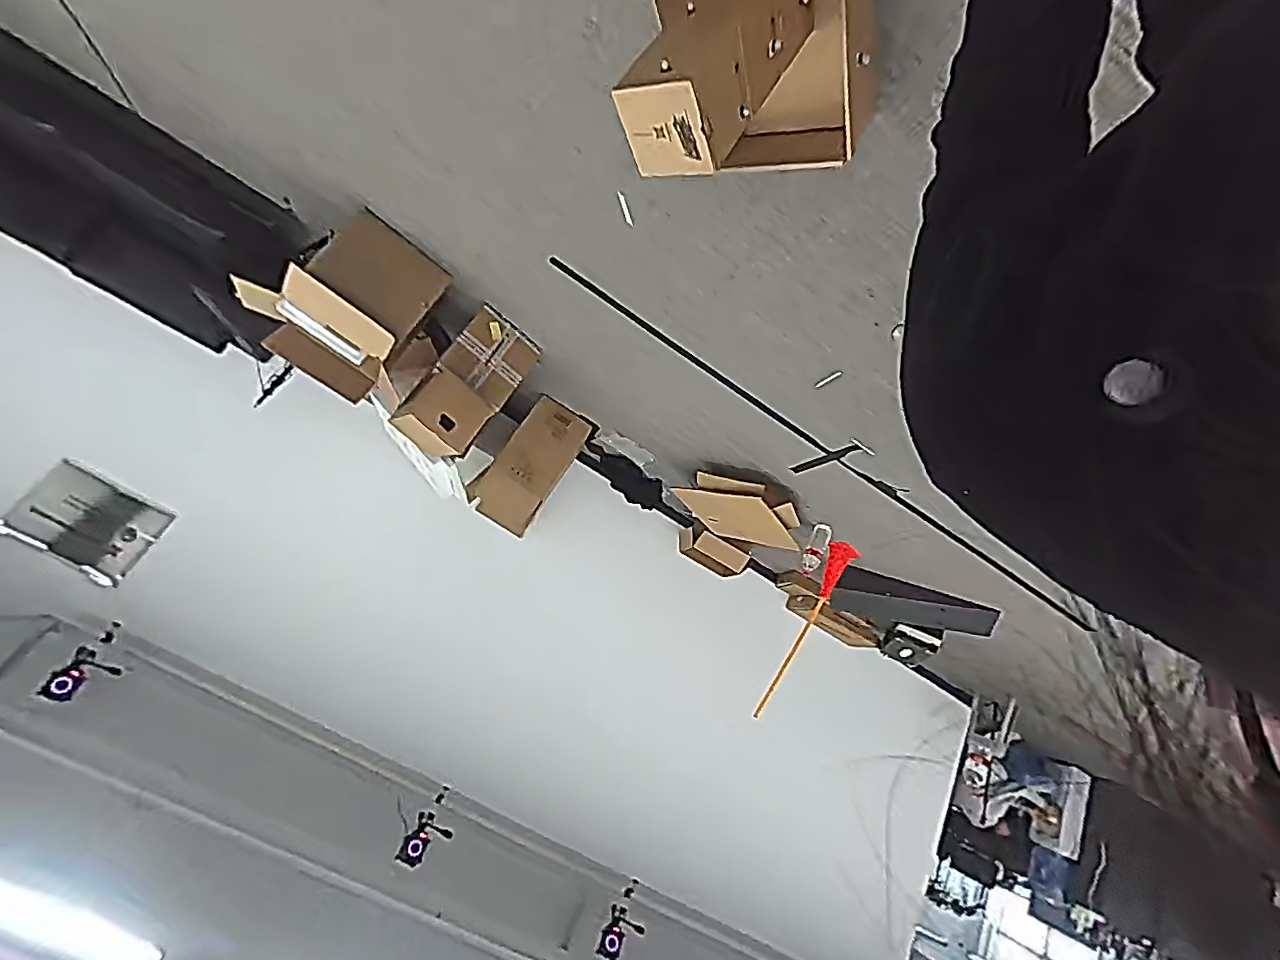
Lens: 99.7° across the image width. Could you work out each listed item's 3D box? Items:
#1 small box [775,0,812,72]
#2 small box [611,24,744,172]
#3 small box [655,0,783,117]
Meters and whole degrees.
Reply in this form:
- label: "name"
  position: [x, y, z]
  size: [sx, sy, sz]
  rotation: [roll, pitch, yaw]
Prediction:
- label: "small box"
  position: [0.237, -0.975, 1.115]
  size: [0.179, 0.176, 0.168]
  rotation: [18, 158, 29]
- label: "small box"
  position: [0.081, -0.708, 1.011]
  size: [0.179, 0.176, 0.168]
  rotation: [19, 159, 32]
- label: "small box"
  position: [0.161, -0.843, 1.062]
  size: [0.179, 0.176, 0.168]
  rotation: [17, 158, 30]
